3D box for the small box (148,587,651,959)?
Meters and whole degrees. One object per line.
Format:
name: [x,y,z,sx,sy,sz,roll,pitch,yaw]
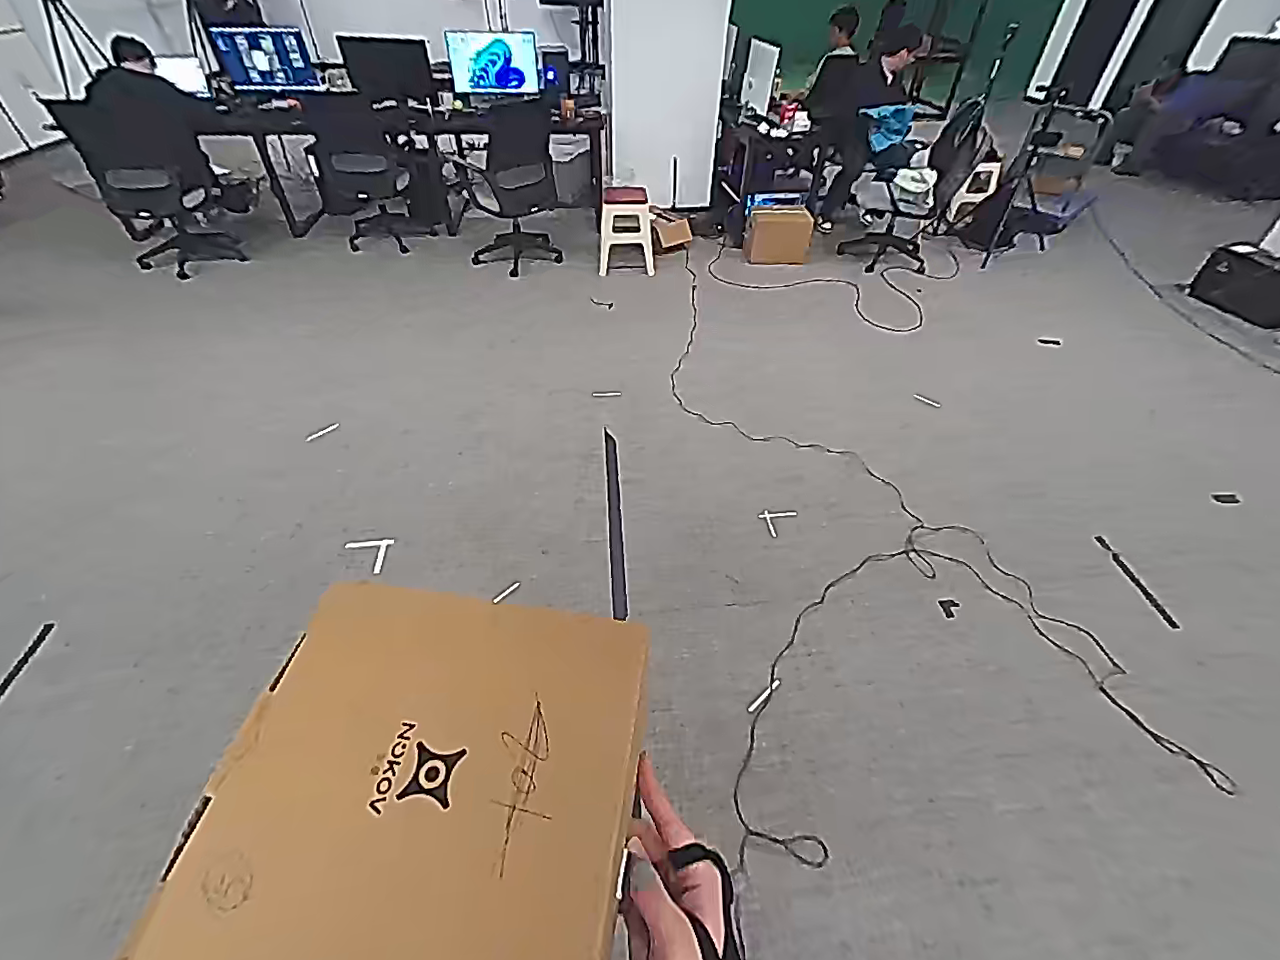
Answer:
small box: [-0.093,0.183,0.309,0.179,0.176,0.168,8,51,5]
